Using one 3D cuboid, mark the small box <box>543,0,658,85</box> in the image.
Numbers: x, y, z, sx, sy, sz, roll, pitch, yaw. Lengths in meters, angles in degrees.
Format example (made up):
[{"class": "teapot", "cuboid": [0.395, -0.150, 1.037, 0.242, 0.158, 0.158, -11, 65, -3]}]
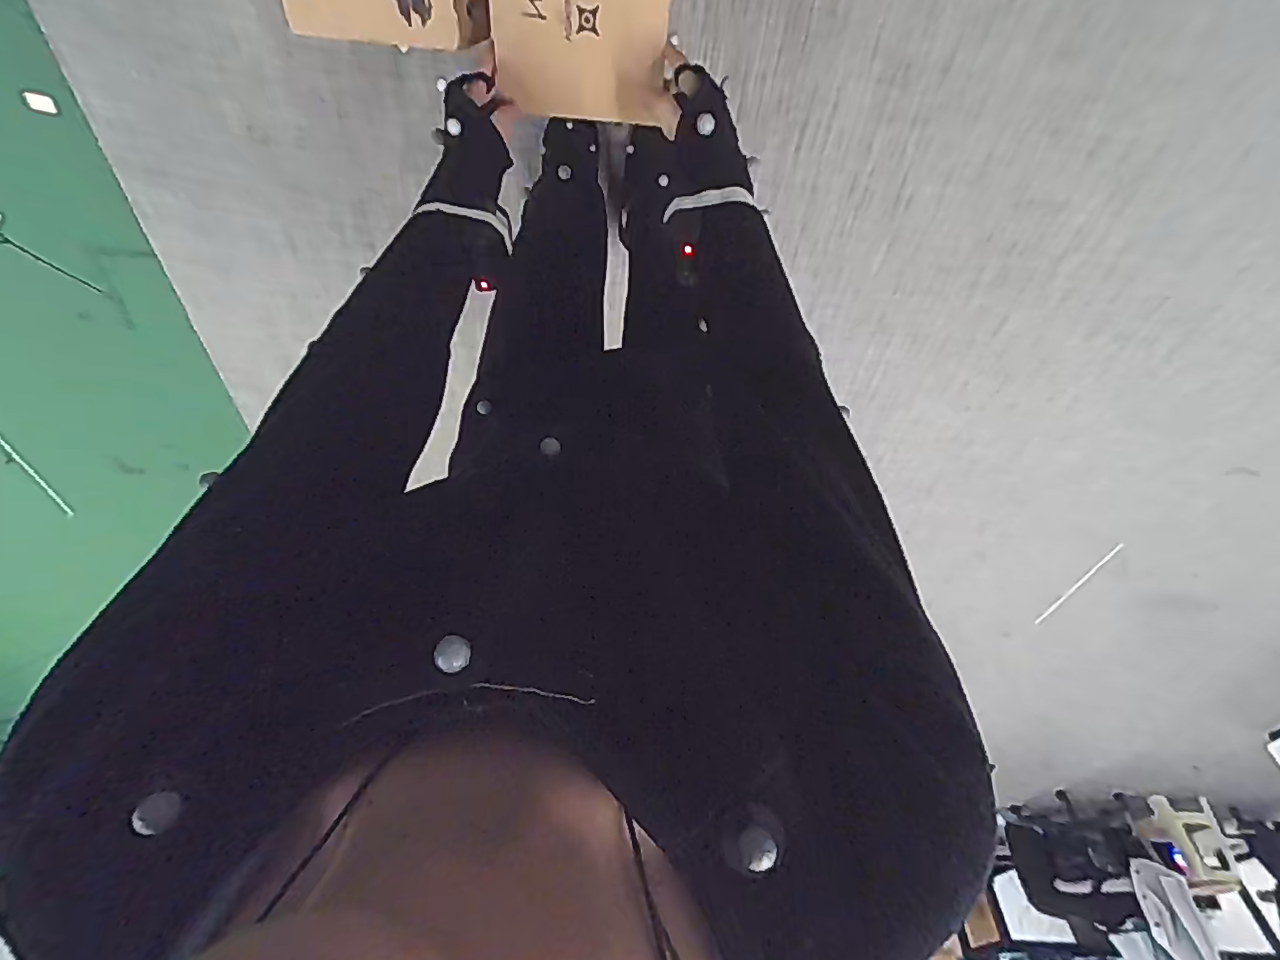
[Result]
[{"class": "small box", "cuboid": [-0.057, -0.740, 0.836, 0.168, 0.176, 0.179, 5, 135, -2]}]
